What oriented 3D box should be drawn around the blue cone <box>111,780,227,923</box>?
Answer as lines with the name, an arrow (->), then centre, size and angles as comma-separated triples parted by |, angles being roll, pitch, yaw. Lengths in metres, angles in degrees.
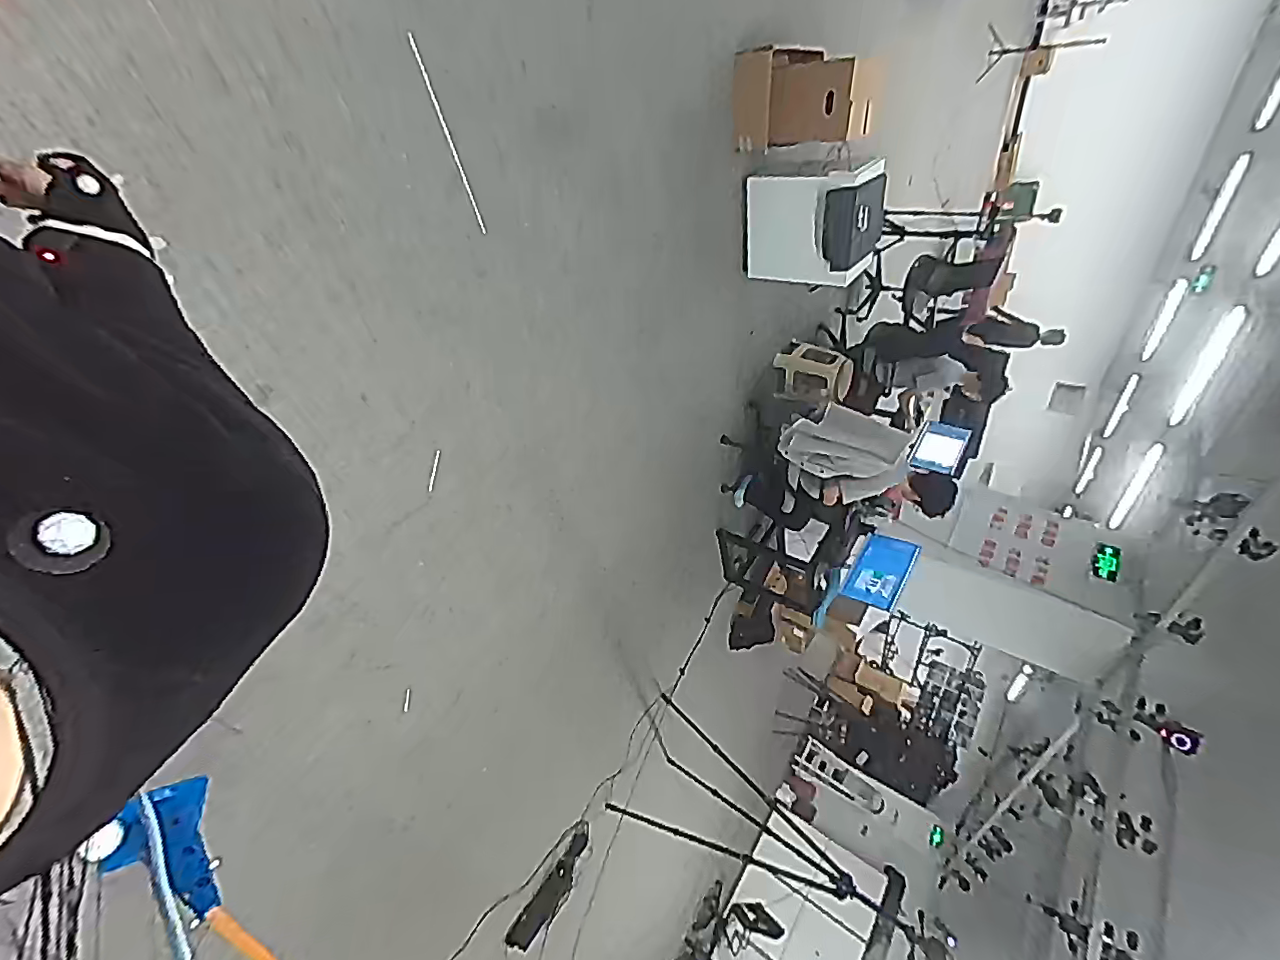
blue cone -> -1.125, 0.945, 1.339 | 0.193, 0.380, 0.192 | 3, 103, -59
